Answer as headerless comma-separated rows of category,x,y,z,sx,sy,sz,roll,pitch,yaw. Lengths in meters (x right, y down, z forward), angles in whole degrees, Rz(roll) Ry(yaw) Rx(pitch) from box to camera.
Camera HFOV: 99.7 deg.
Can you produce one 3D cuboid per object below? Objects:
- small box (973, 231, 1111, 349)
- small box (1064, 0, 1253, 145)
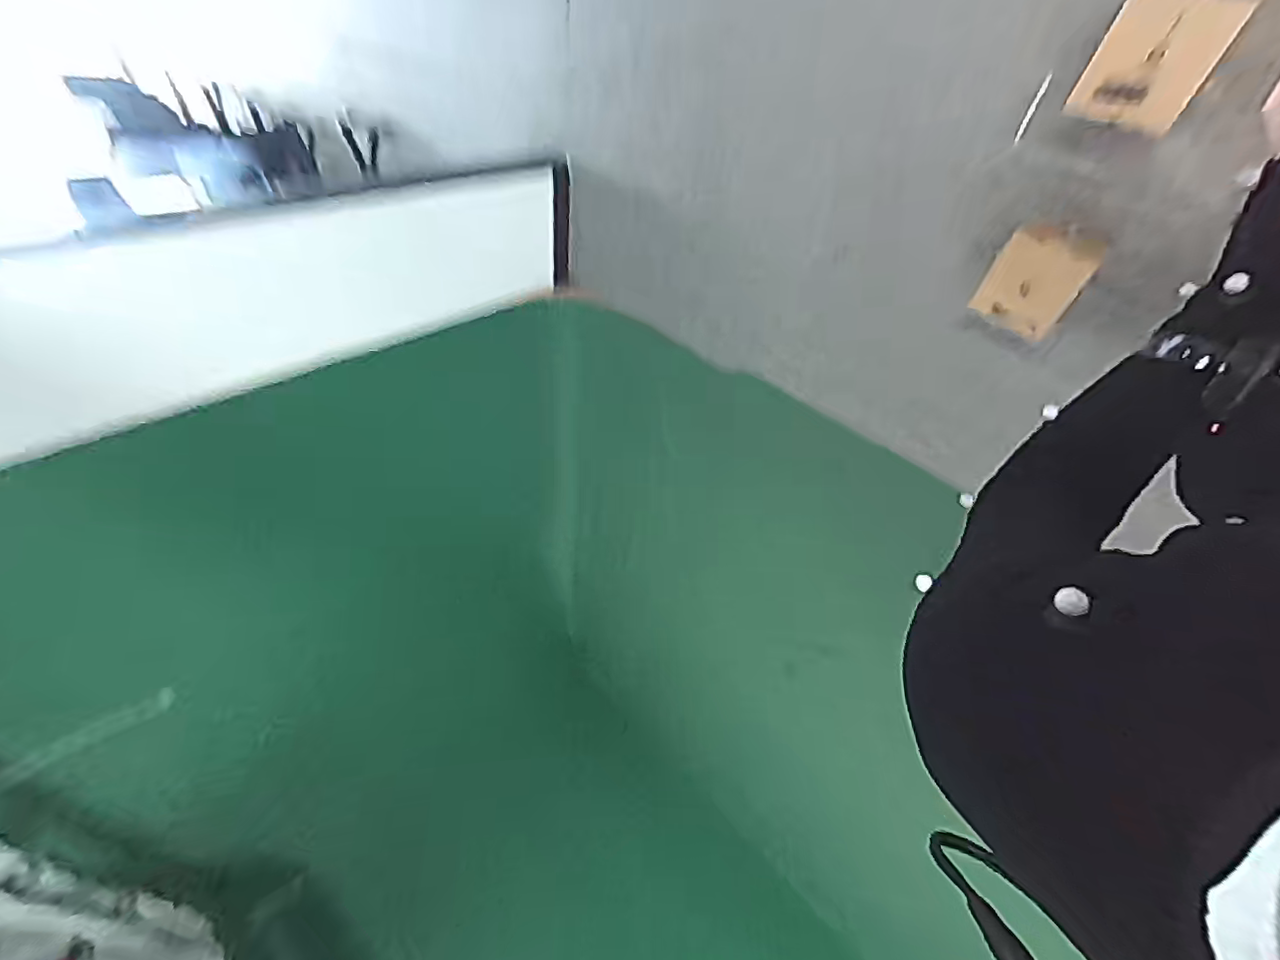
small box,0.873,-0.420,1.174,0.168,0.176,0.179,39,140,24
small box,0.893,-0.705,0.934,0.168,0.176,0.179,38,139,25
